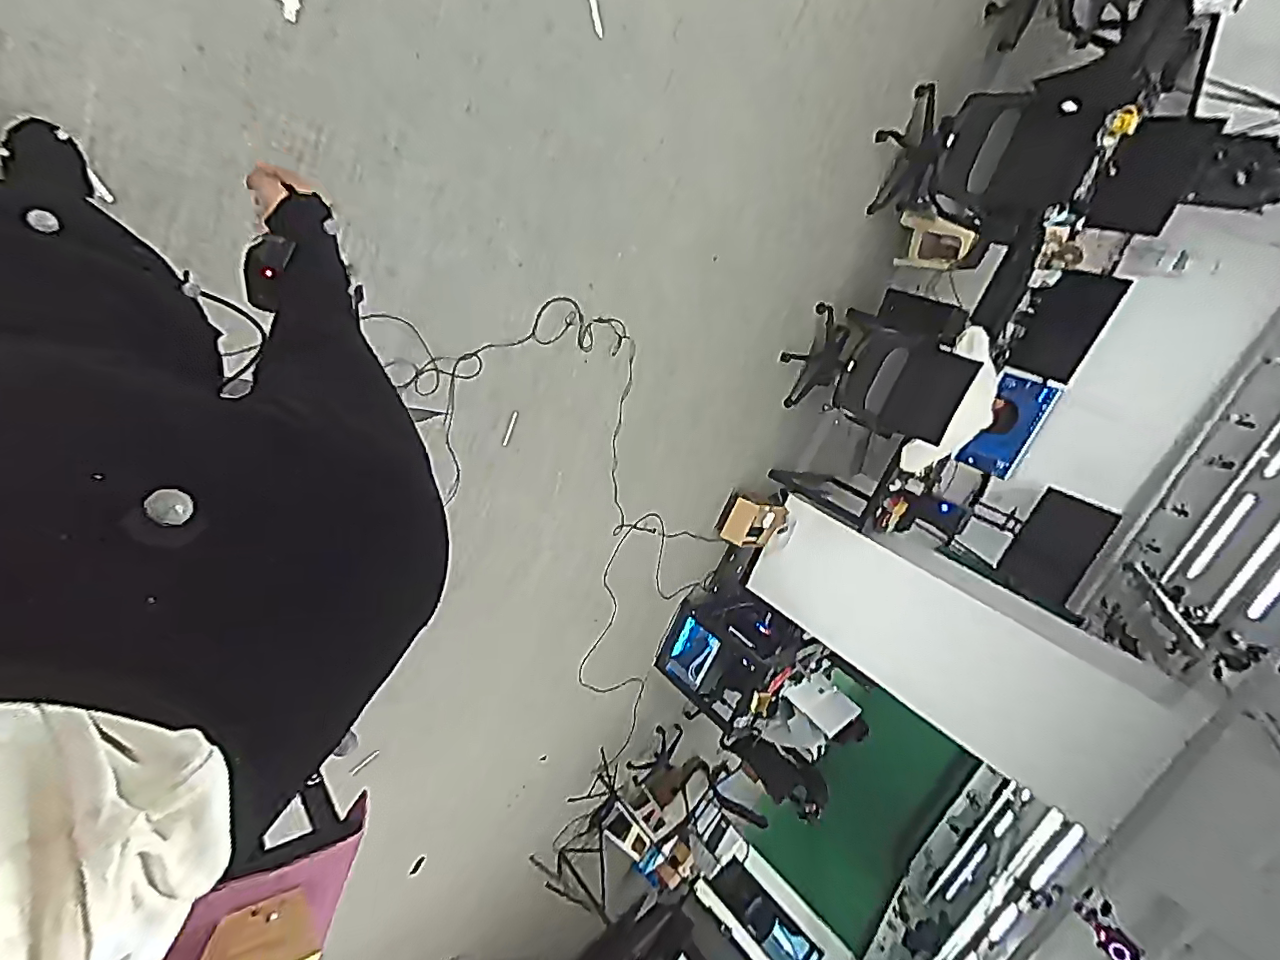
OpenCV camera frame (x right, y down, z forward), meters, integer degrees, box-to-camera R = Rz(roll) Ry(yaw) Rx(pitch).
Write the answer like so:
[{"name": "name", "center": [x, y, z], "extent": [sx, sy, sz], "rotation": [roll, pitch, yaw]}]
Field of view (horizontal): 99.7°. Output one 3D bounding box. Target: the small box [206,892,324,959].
[{"name": "small box", "center": [-0.851, 1.090, 1.215], "extent": [0.168, 0.176, 0.179], "rotation": [18, 103, -53]}]
